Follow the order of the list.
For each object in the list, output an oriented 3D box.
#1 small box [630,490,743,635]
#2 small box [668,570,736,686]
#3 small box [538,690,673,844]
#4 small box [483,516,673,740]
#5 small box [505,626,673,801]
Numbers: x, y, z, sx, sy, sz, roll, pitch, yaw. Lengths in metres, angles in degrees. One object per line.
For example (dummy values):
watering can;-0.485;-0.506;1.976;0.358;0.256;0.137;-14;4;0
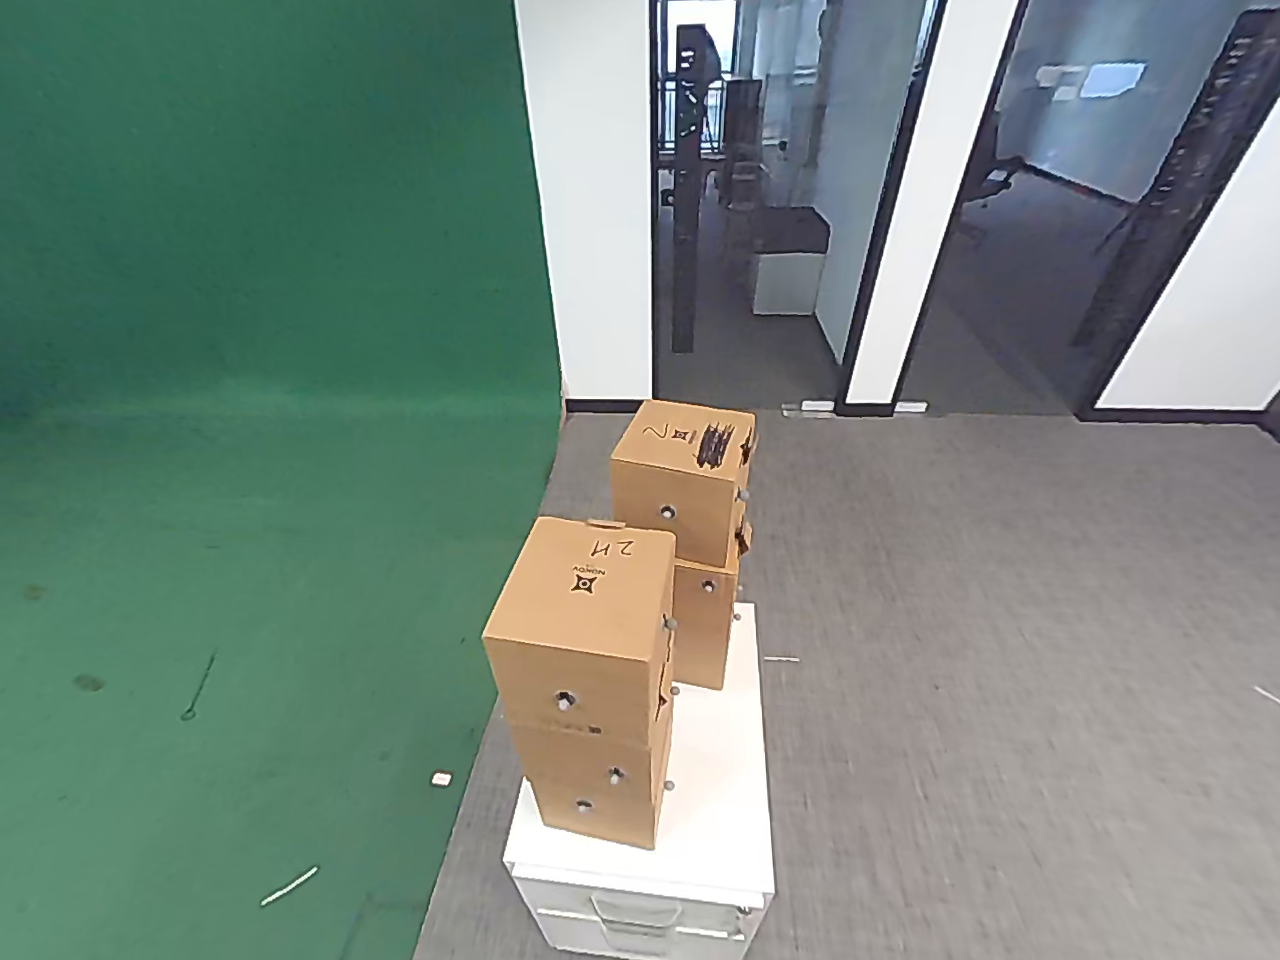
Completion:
small box;0.073;0.140;0.915;0.179;0.176;0.168;8;40;10
small box;0.081;0.264;1.019;0.179;0.176;0.168;7;40;11
small box;-0.050;0.423;0.826;0.179;0.176;0.168;8;39;9
small box;-0.057;0.168;0.622;0.168;0.176;0.179;7;38;8
small box;-0.056;0.299;0.722;0.179;0.176;0.168;6;38;10
